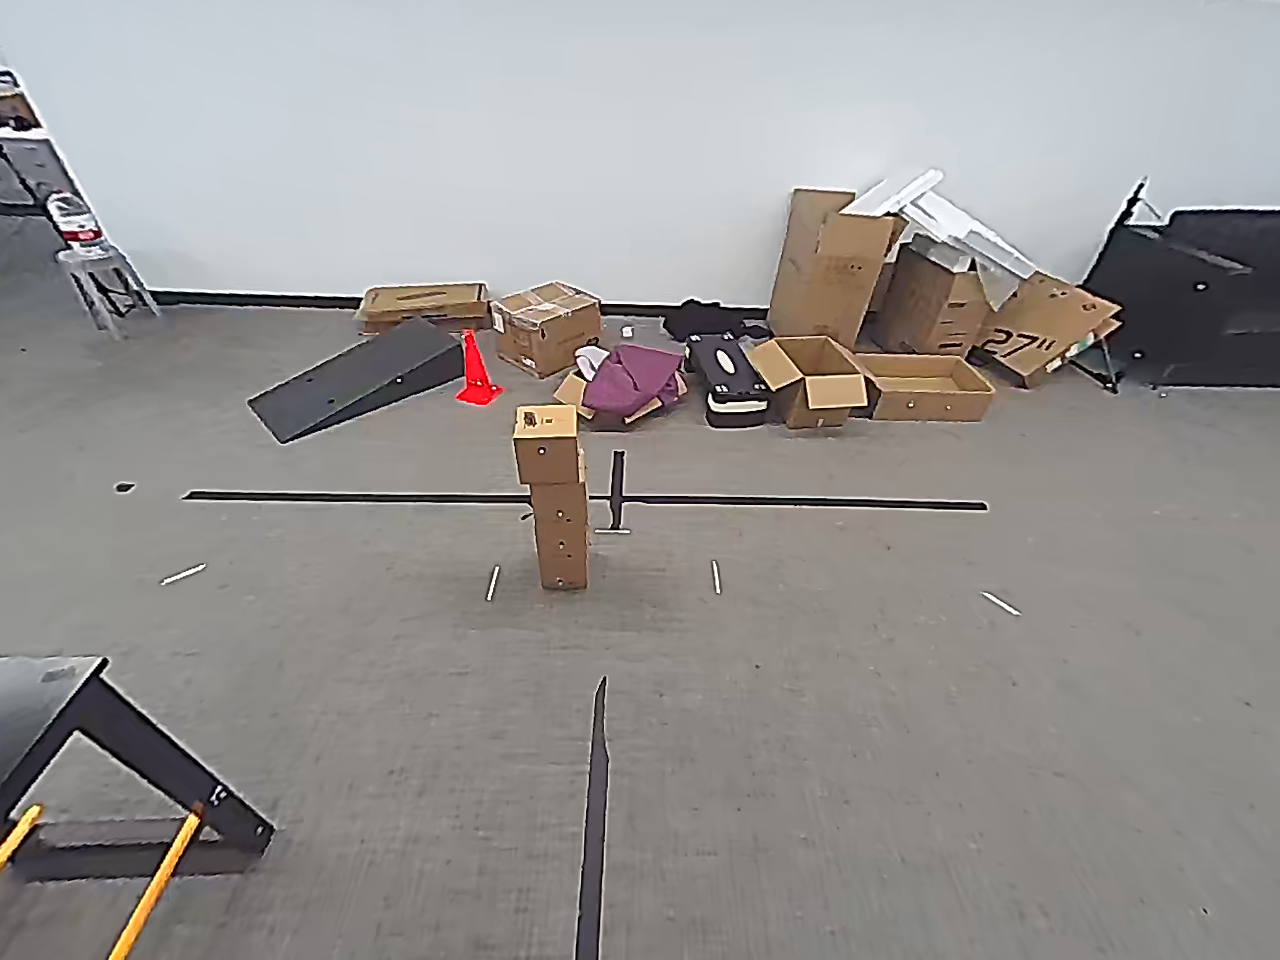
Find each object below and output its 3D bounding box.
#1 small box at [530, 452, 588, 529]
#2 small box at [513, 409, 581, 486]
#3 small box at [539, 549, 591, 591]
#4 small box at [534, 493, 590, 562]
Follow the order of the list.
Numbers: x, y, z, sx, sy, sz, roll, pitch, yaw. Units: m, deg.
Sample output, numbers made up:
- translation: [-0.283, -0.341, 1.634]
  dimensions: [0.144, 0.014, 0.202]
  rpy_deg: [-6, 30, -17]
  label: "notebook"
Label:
- translation: [-0.251, 0.033, 1.698]
  dimensions: [0.168, 0.176, 0.179]
  rpy_deg: [-4, 40, -6]
  label: "small box"
- translation: [-0.268, -0.094, 1.593]
  dimensions: [0.179, 0.176, 0.168]
  rpy_deg: [-3, 39, -5]
  label: "small box"
- translation: [-0.263, 0.276, 1.921]
  dimensions: [0.168, 0.176, 0.179]
  rpy_deg: [-1, 41, -2]
  label: "small box"
- translation: [-0.253, 0.160, 1.805]
  dimensions: [0.168, 0.176, 0.179]
  rpy_deg: [-1, 40, -2]
  label: "small box"
